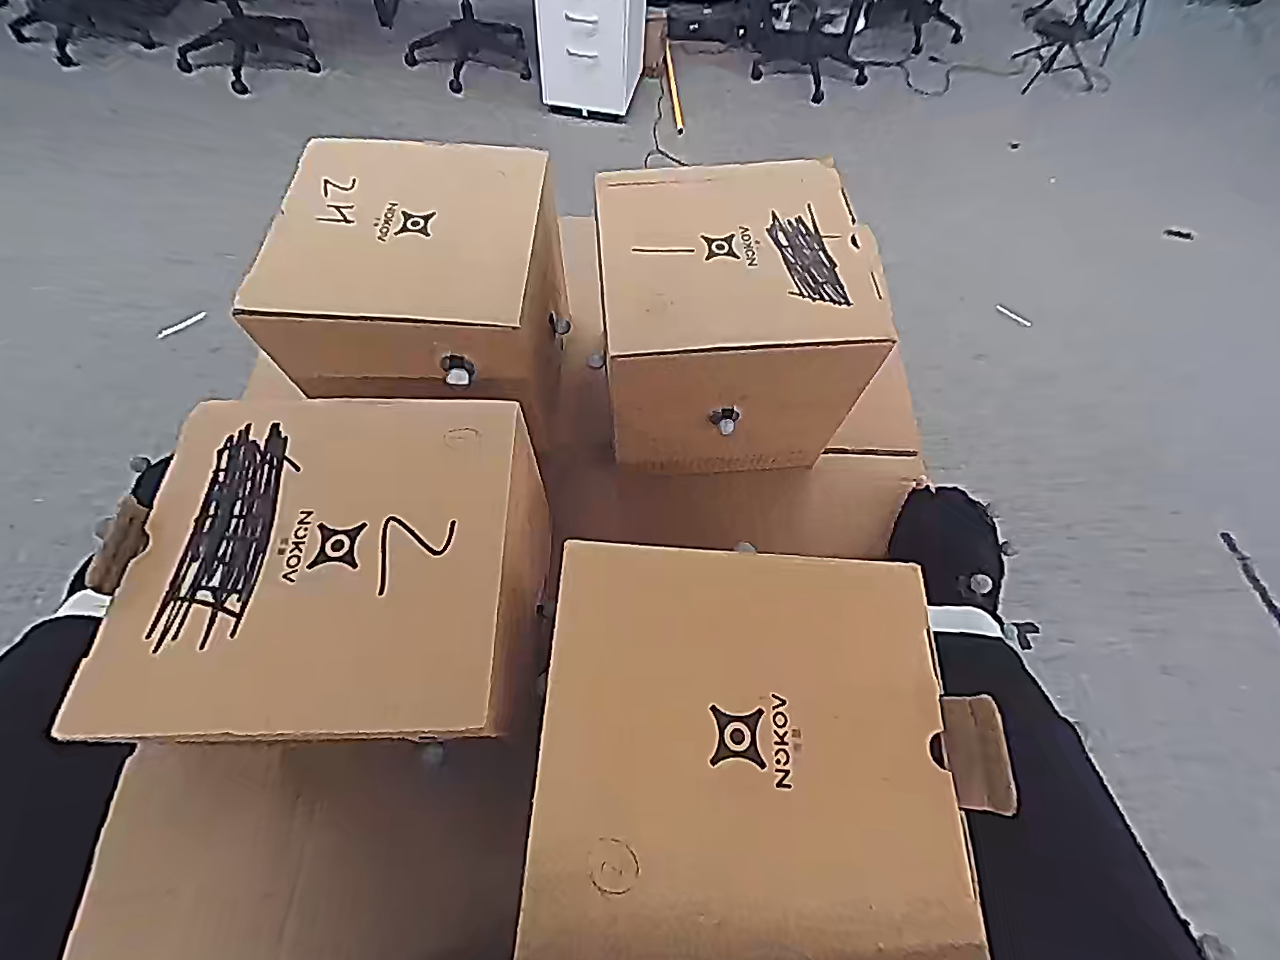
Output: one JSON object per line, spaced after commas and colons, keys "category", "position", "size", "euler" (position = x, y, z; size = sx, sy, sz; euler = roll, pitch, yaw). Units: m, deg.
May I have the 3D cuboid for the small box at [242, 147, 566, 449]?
{"category": "small box", "position": [-0.160, -0.136, 0.443], "size": [0.179, 0.176, 0.168], "euler": [3, 64, 1]}
